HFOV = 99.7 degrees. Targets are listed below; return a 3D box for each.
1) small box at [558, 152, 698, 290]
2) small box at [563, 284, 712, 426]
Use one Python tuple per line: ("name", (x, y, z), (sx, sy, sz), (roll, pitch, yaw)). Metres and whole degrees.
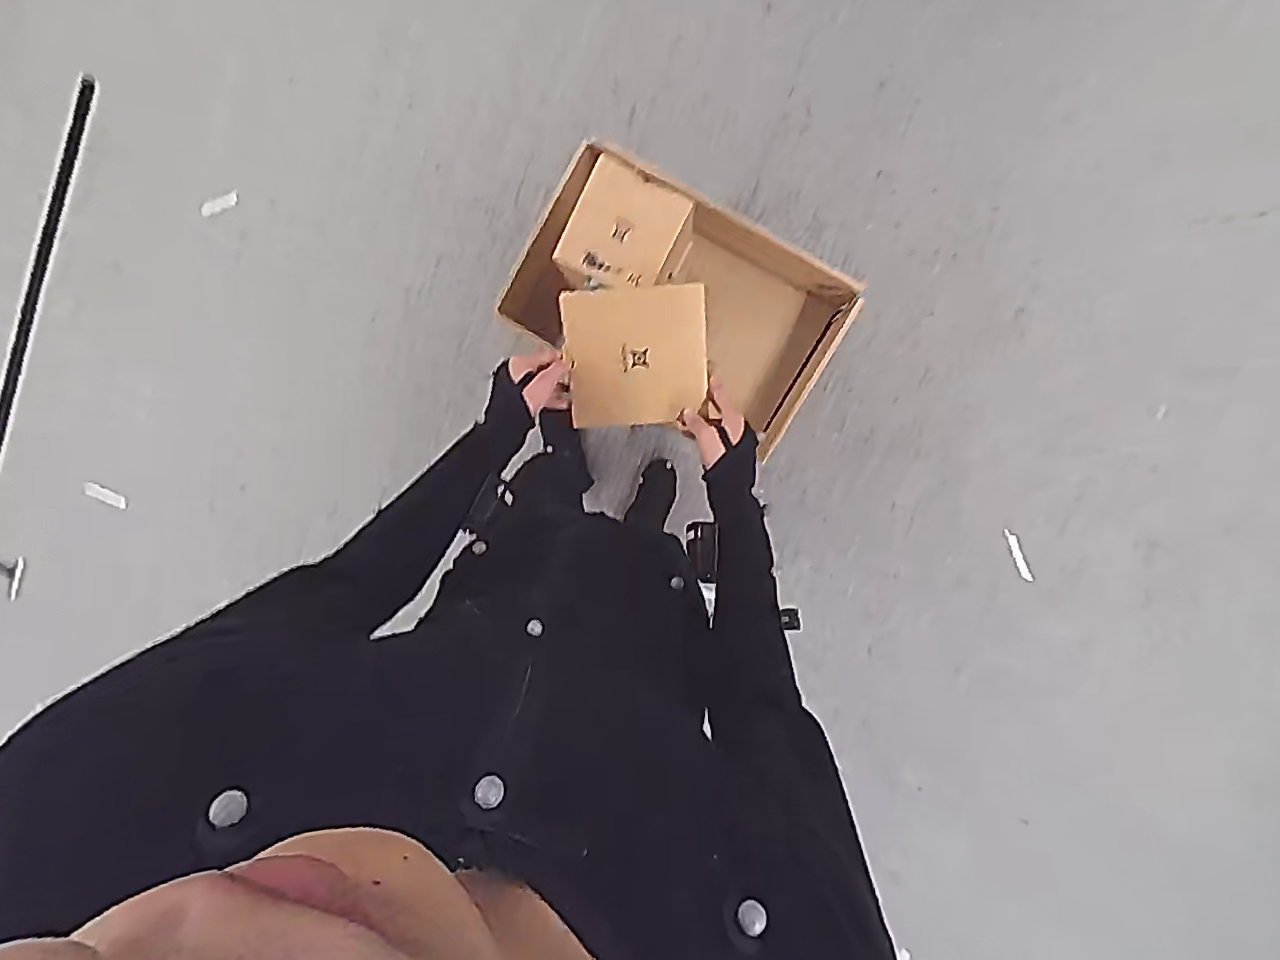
("small box", (-0.018, -0.400, 0.919), (0.168, 0.176, 0.179), (28, 95, 1))
("small box", (0.003, -0.173, 0.734), (0.179, 0.176, 0.168), (-3, 106, 5))
